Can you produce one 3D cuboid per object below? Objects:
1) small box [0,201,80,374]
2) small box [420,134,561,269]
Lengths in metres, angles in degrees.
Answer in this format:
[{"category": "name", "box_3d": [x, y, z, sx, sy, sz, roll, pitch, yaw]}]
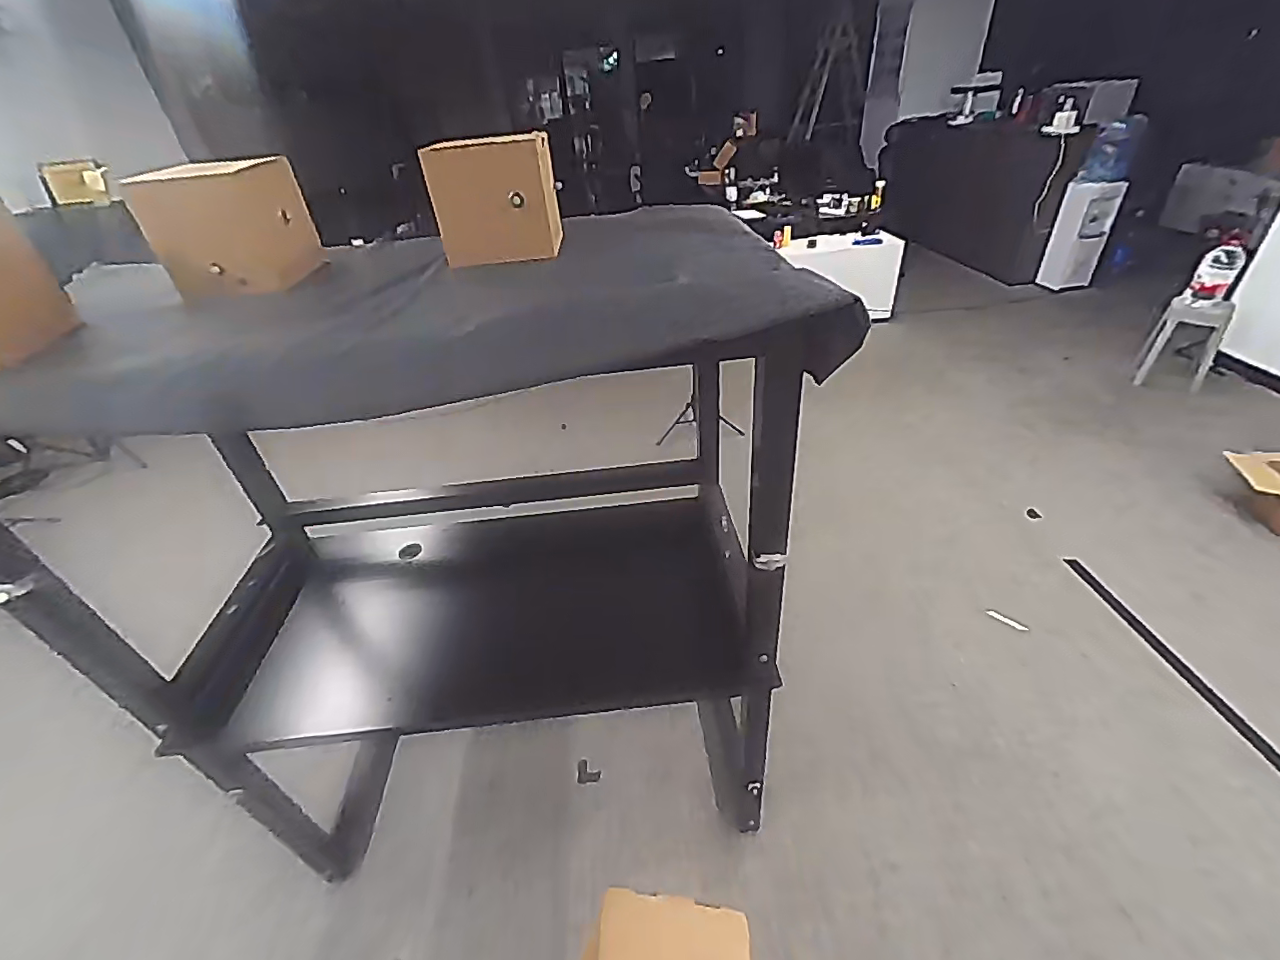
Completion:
[{"category": "small box", "box_3d": [-0.867, -0.232, 0.666, 0.168, 0.176, 0.179, -11, 37, -9]}, {"category": "small box", "box_3d": [-0.231, -0.460, 0.892, 0.179, 0.176, 0.168, -5, 35, 1]}]
